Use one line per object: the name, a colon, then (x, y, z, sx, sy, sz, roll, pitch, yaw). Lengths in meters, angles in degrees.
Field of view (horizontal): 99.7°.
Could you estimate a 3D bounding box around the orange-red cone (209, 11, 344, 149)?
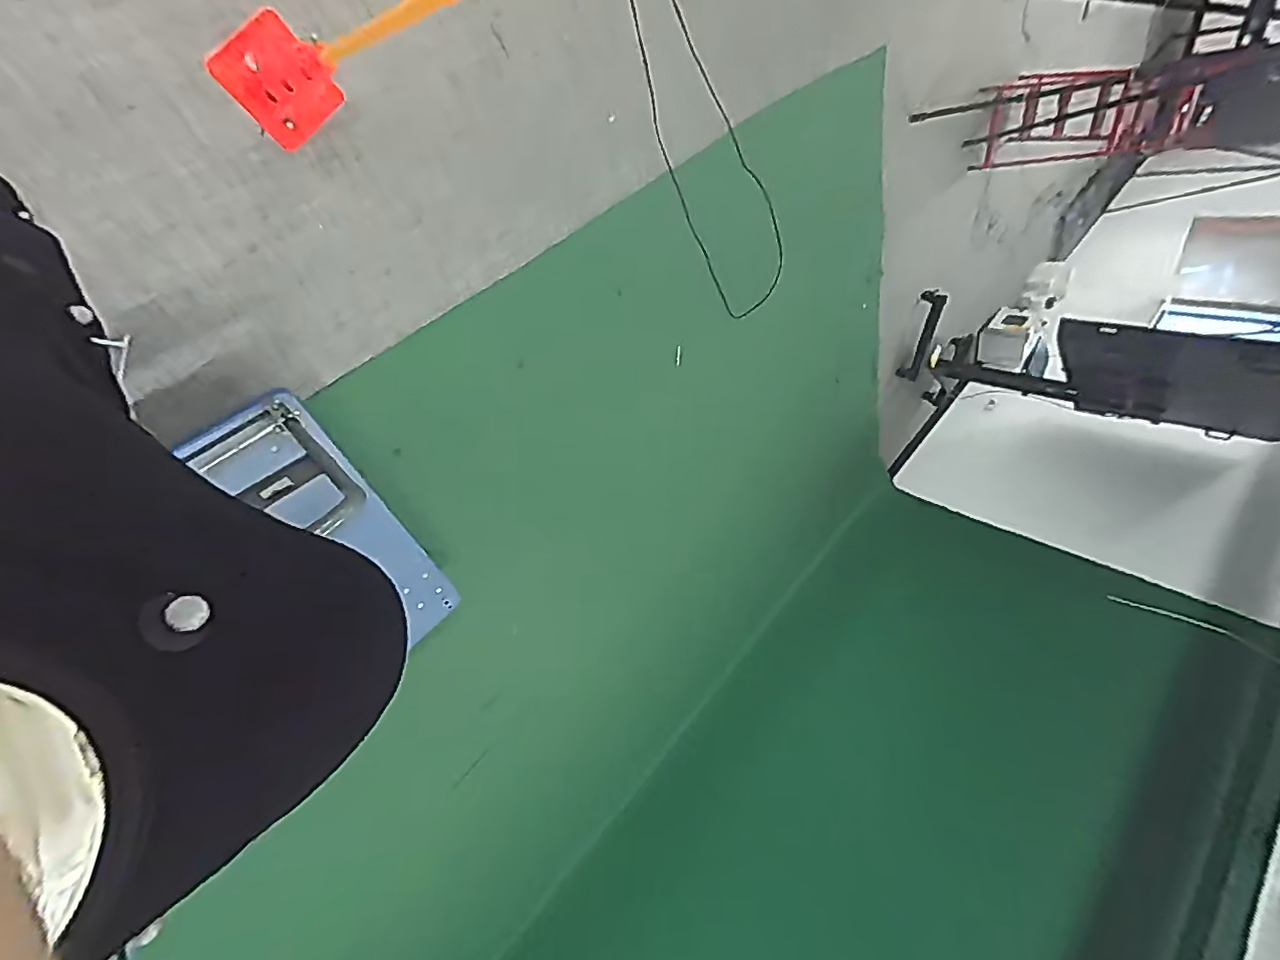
orange-red cone: (-0.675, -0.819, 1.083, 0.199, 0.360, 0.198, -54, 139, -12)
